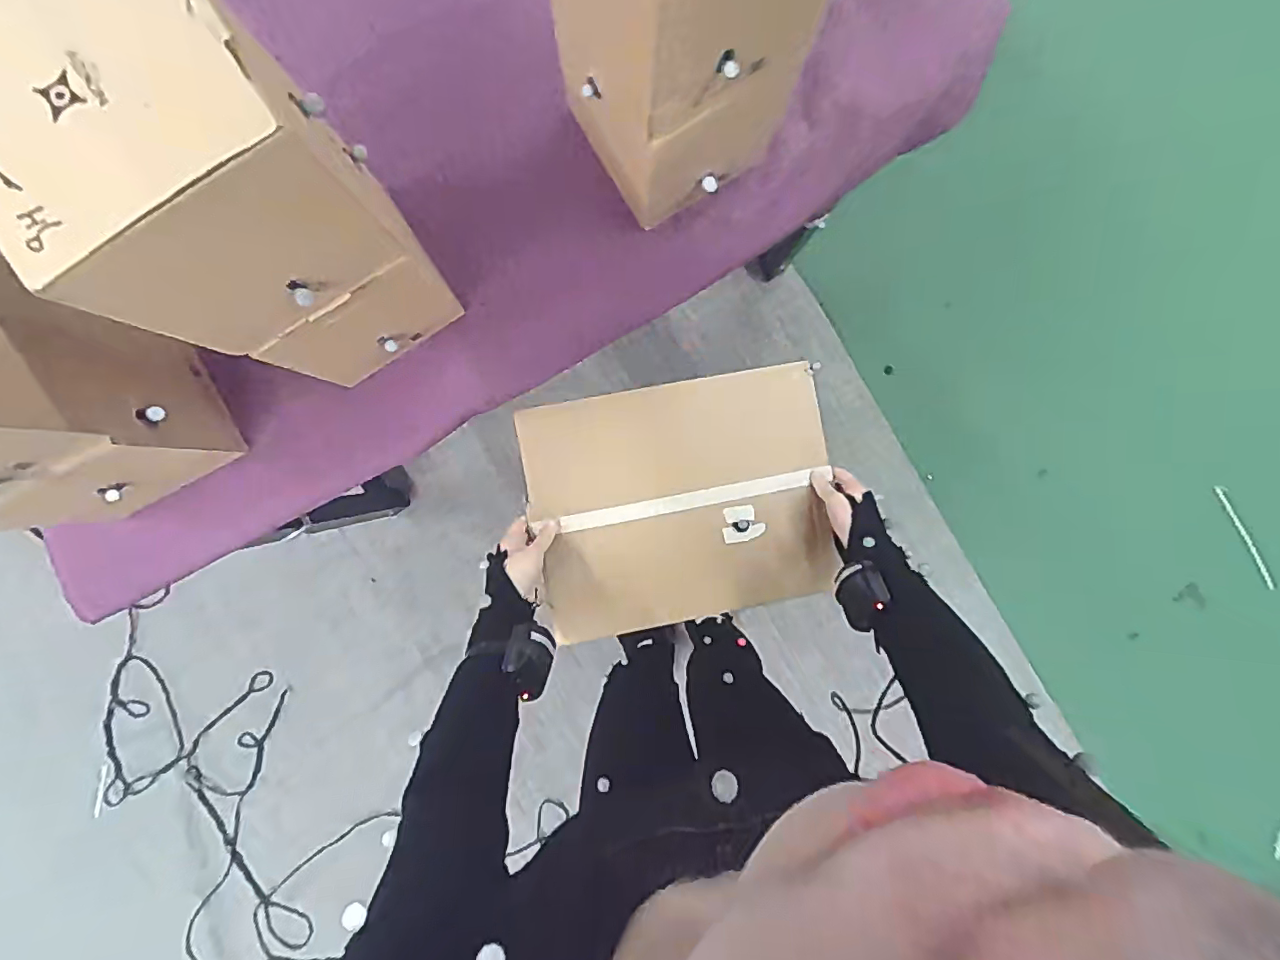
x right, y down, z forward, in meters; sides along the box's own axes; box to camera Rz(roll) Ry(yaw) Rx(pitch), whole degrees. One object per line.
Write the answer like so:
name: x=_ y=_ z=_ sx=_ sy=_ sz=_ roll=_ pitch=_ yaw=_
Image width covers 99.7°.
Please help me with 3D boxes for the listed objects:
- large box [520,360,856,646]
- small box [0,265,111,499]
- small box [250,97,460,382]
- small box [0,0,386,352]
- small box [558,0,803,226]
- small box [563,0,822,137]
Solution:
large box: x=0.053 y=0.032 z=0.852 sx=0.408 sy=0.320 sz=0.320 roll=-10 pitch=89 yaw=-6
small box: x=-0.562 y=-0.076 z=0.388 sx=0.168 sy=0.176 sz=0.179 roll=-29 pitch=91 yaw=1
small box: x=-0.319 y=-0.224 z=0.553 sx=0.168 sy=0.176 sz=0.179 roll=-33 pitch=91 yaw=0
small box: x=-0.316 y=-0.220 z=0.389 sx=0.179 sy=0.176 sz=0.168 roll=-34 pitch=90 yaw=-1
small box: x=0.031 y=-0.407 z=0.559 sx=0.168 sy=0.176 sz=0.179 roll=-32 pitch=92 yaw=0
small box: x=0.033 y=-0.408 z=0.396 sx=0.168 sy=0.176 sz=0.179 roll=-32 pitch=92 yaw=0
